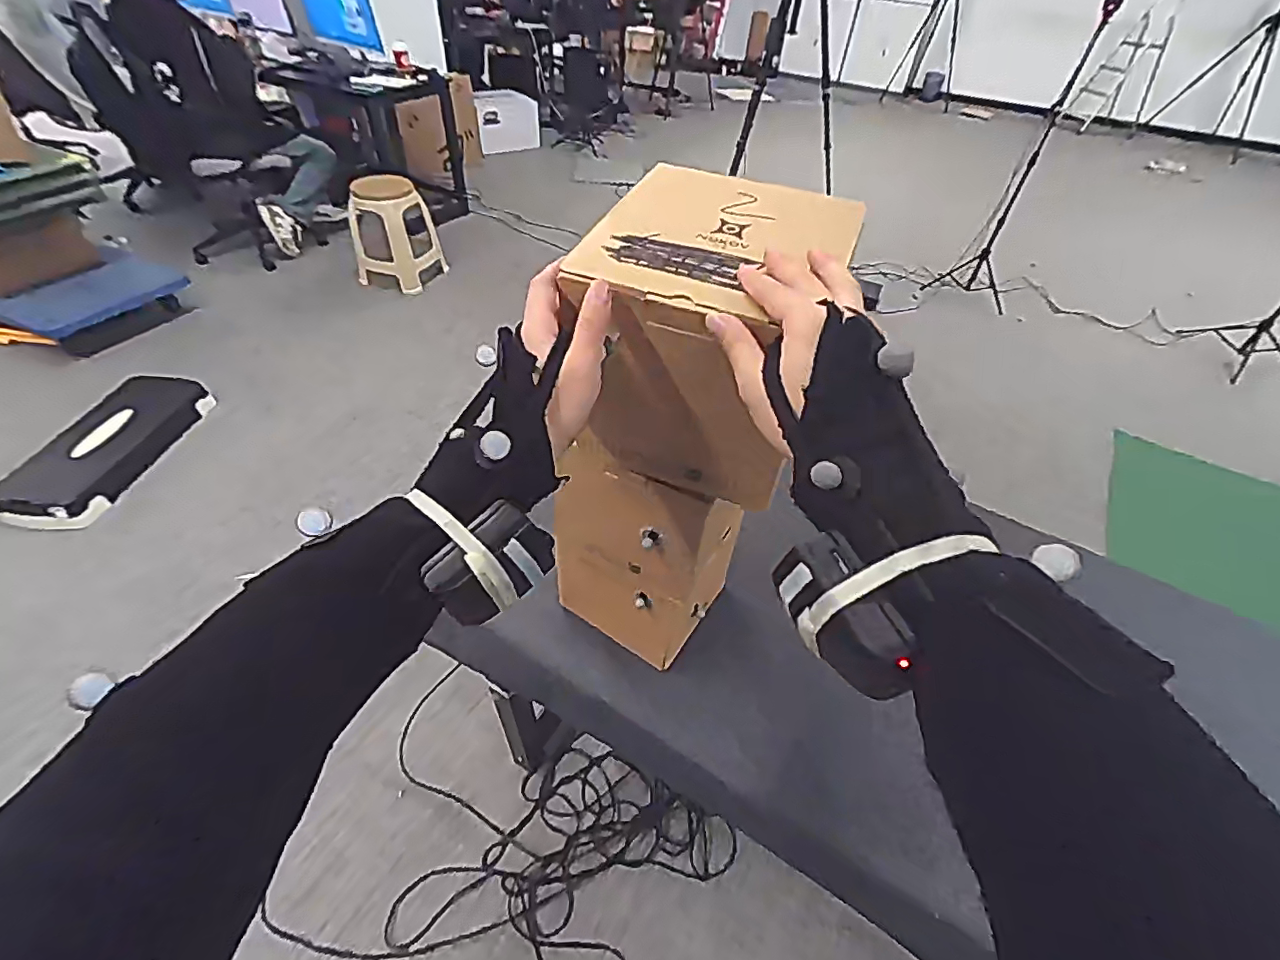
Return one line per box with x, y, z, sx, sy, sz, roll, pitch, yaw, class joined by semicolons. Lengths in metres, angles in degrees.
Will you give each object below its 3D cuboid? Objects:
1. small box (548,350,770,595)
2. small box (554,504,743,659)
0.019;-0.008;0.587;0.168;0.176;0.179;24;47;16;small box
0.007;0.100;0.708;0.179;0.176;0.168;28;49;21;small box
